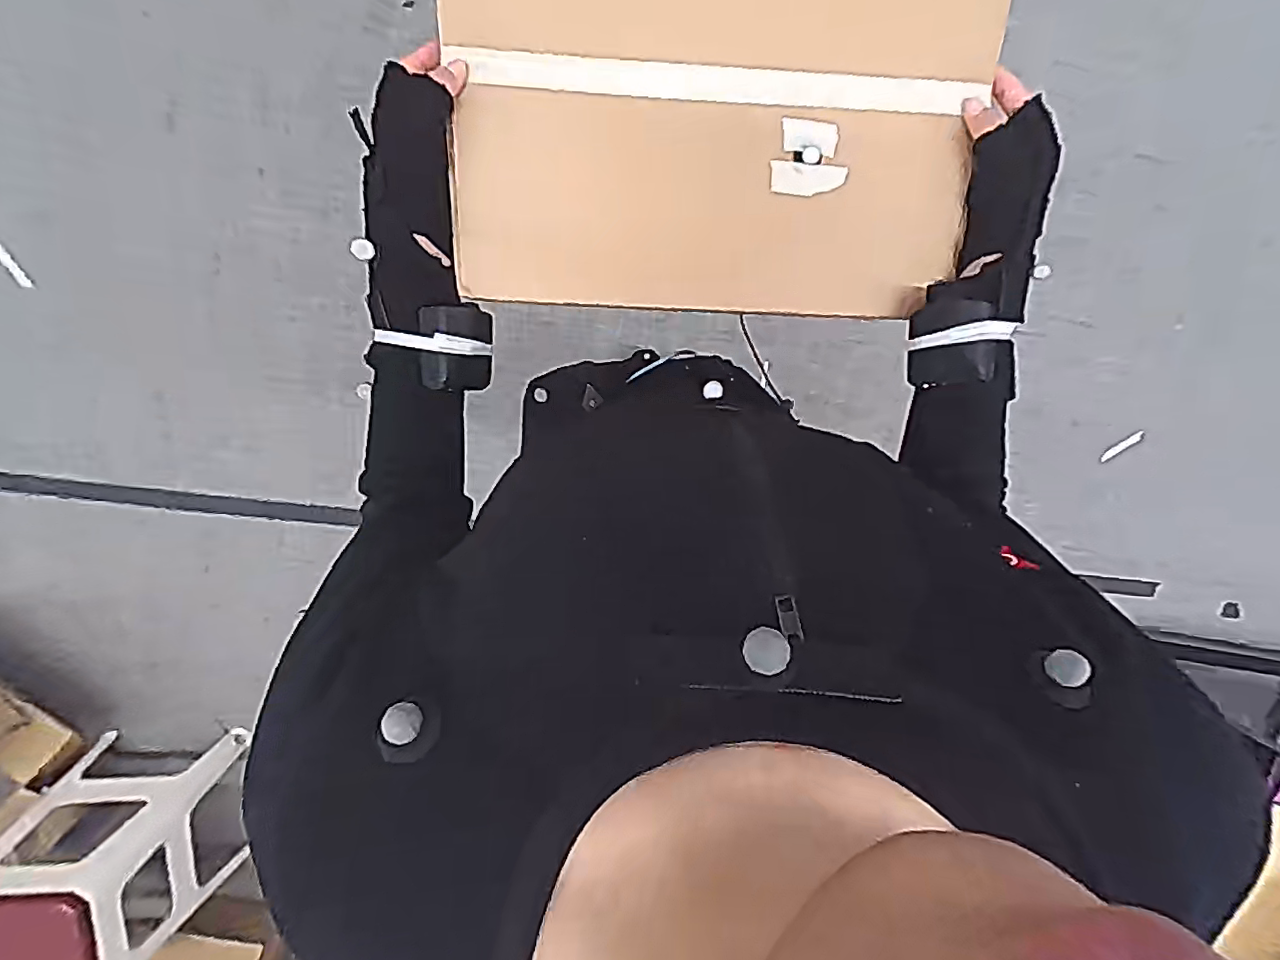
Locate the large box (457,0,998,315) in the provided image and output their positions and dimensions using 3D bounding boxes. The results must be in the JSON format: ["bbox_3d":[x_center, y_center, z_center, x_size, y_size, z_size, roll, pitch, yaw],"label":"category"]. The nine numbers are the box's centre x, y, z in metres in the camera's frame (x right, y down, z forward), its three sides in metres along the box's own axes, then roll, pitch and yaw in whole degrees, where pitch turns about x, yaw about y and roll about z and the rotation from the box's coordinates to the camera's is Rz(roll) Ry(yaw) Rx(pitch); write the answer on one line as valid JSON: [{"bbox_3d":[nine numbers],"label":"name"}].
[{"bbox_3d":[0.053,-0.339,0.550,0.408,0.320,0.320,1,109,-6],"label":"large box"}]
